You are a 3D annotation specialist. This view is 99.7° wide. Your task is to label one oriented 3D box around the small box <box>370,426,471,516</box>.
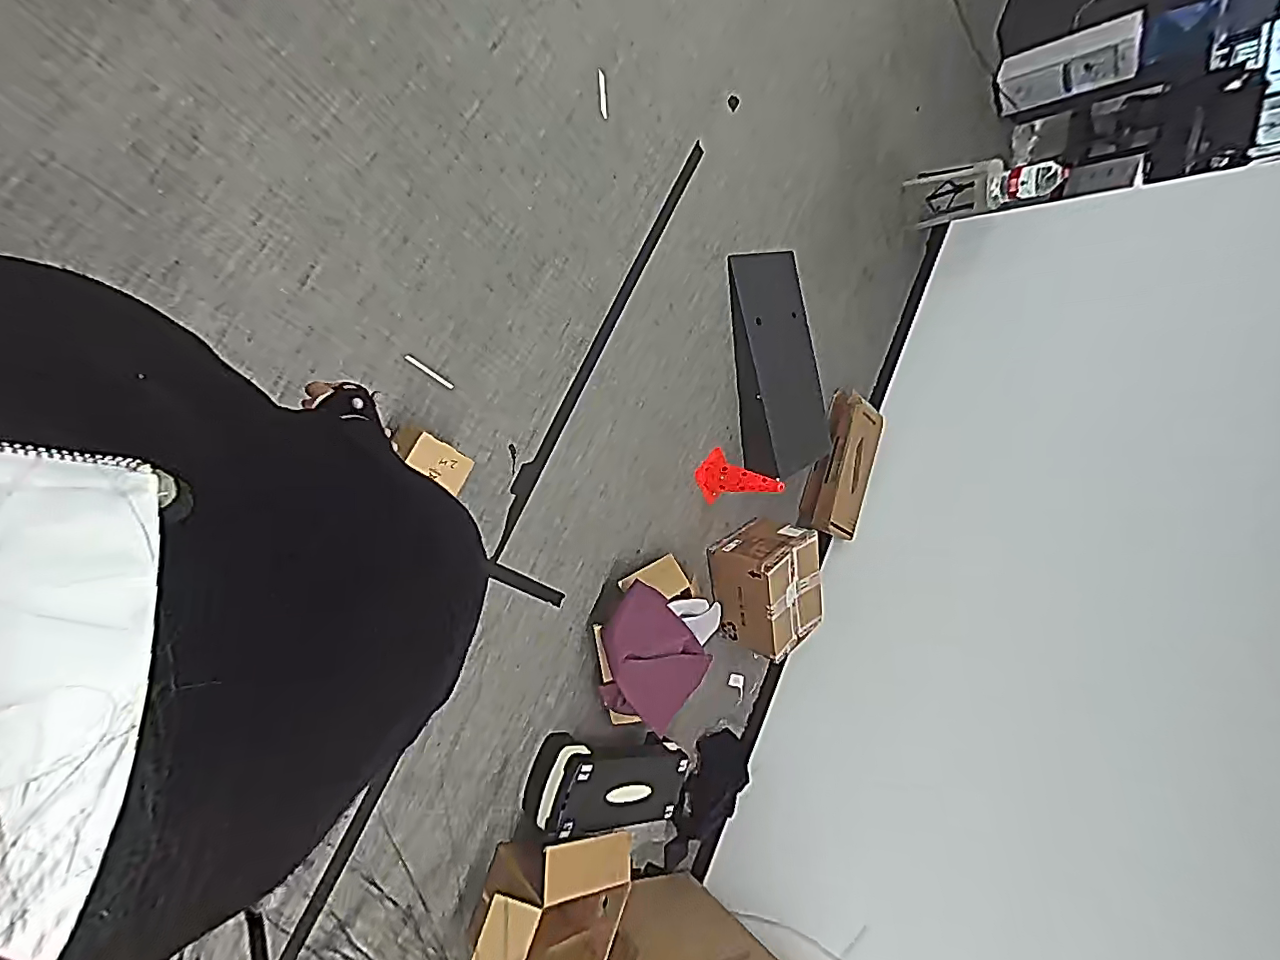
[{"bbox_3d":[-0.592,-0.028,1.445,0.168,0.176,0.179,38,72,-41],"label":"small box"}]
